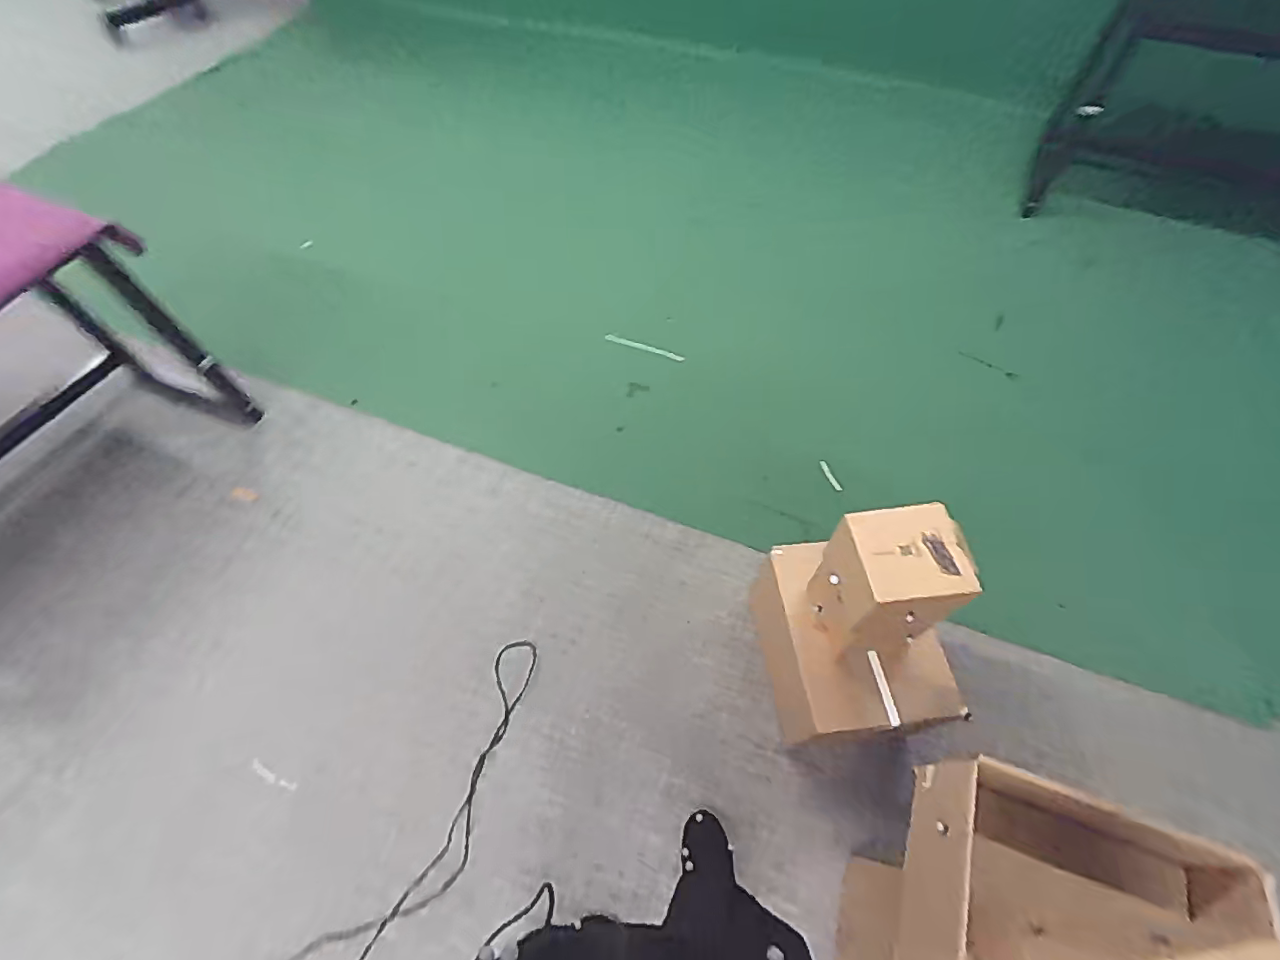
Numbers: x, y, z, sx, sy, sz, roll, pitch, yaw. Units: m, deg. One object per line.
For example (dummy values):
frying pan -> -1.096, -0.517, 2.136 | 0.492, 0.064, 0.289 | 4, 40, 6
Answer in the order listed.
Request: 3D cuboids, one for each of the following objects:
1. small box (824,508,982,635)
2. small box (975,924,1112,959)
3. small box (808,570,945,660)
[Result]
small box -> 0.451, 0.166, 0.960 | 0.179, 0.176, 0.168 | -6, 57, -1
small box -> 0.569, 0.692, 0.695 | 0.179, 0.176, 0.168 | -2, 59, 0
small box -> 0.467, 0.253, 1.099 | 0.179, 0.176, 0.168 | -10, 57, -4
